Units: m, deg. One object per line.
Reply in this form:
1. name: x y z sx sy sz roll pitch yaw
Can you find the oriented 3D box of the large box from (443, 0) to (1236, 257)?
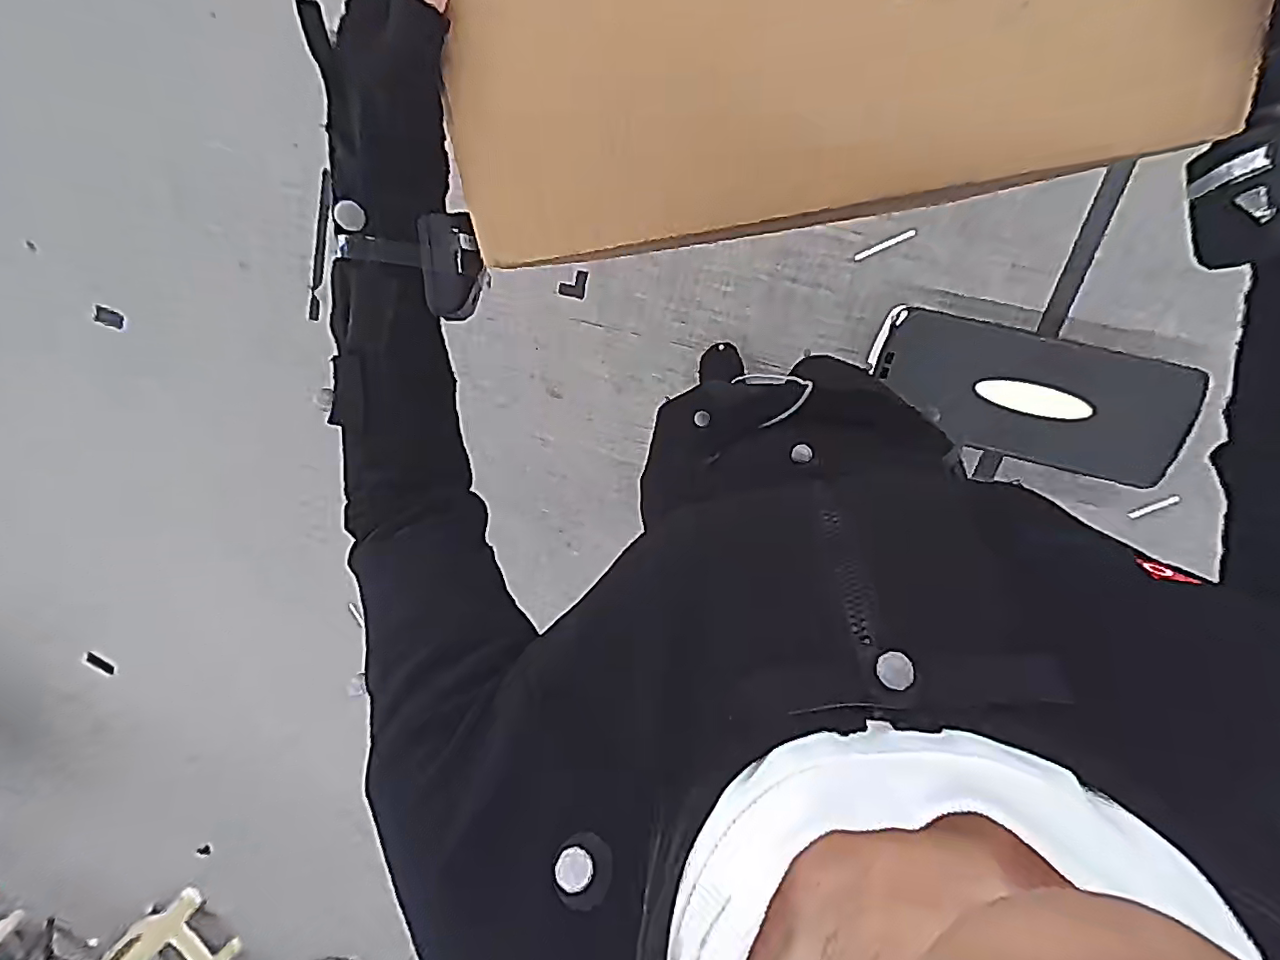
1. large box: 0.096 -0.363 0.398 0.408 0.320 0.320 -6 112 9
